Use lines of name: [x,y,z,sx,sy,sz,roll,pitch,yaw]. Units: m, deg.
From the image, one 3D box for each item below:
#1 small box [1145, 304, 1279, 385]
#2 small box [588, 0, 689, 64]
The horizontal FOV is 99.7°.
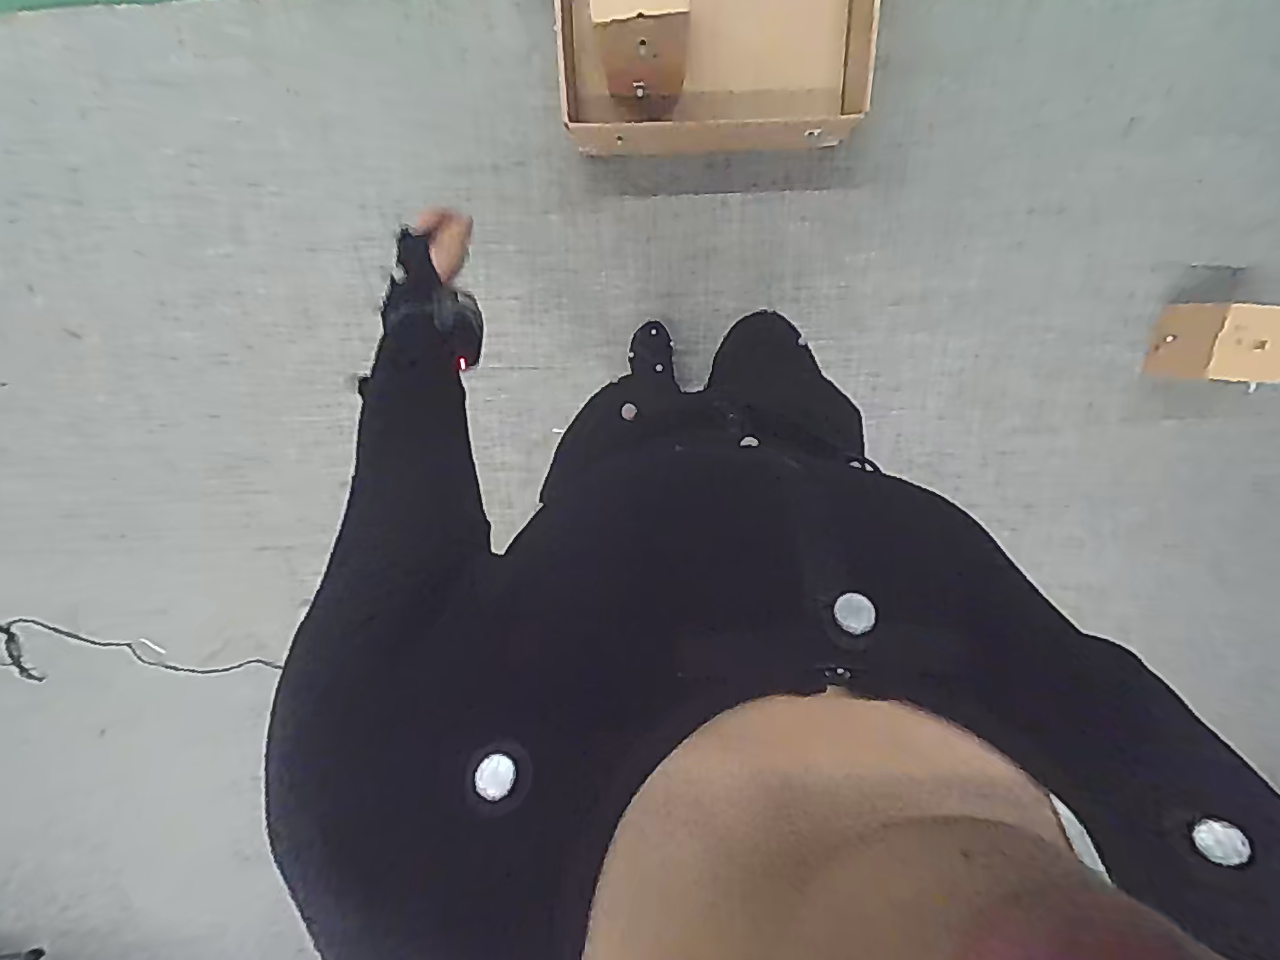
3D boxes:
small box: [1.370,-0.323,1.273,0.179,0.176,0.168,4,107,1]
small box: [-0.001,-0.845,0.927,0.168,0.176,0.179,-4,109,3]
